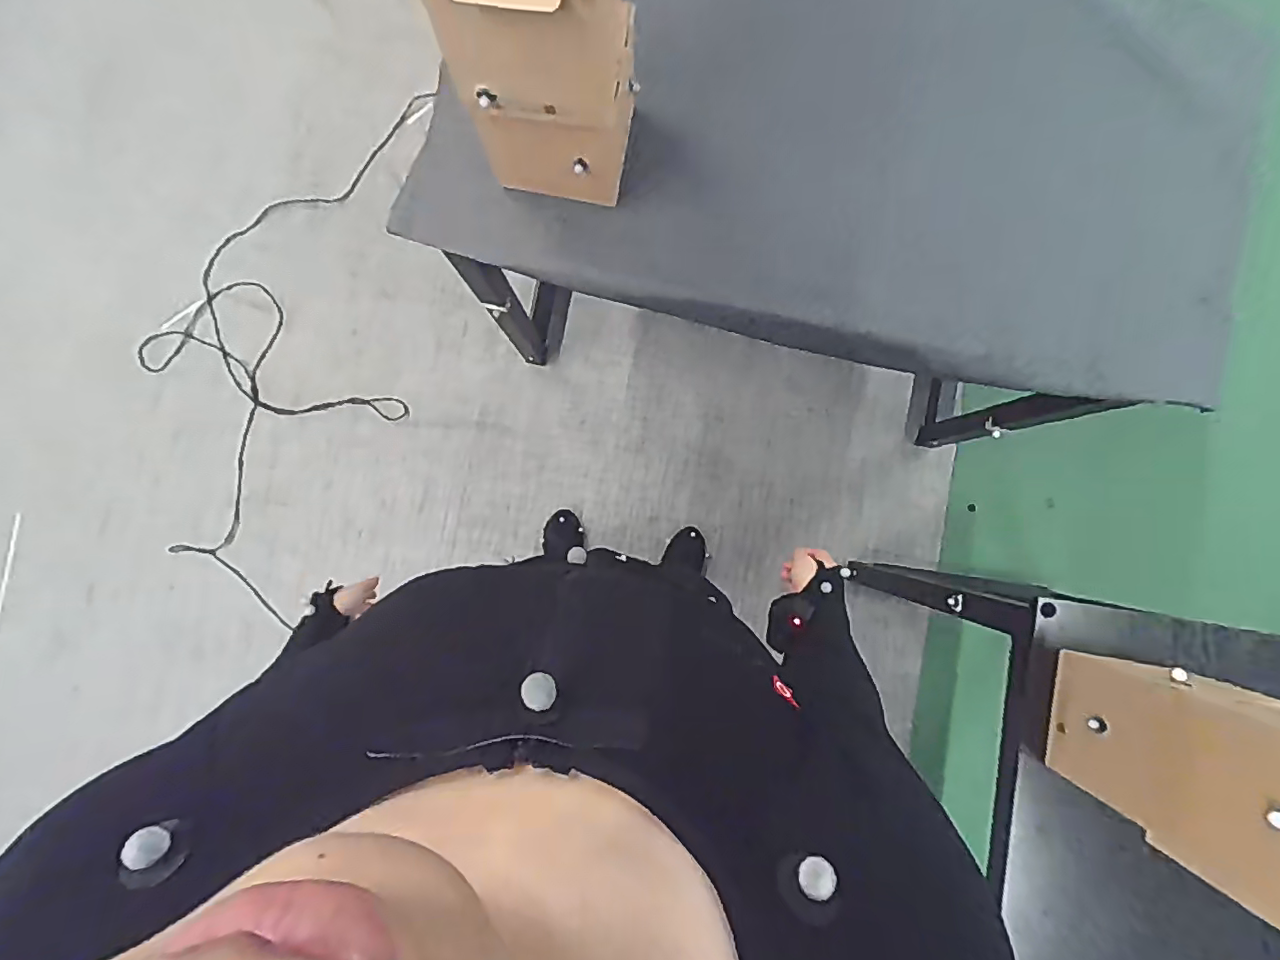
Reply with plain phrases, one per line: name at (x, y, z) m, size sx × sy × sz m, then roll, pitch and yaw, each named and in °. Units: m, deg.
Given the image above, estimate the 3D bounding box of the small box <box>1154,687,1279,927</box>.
small box at (0.650, 0.322, 0.513) m, size 0.168 × 0.176 × 0.179 m, roll 10°, pitch 87°, yaw 1°

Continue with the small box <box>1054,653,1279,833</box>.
small box at (0.667, 0.327, 0.675) m, size 0.179 × 0.176 × 0.168 m, roll 10°, pitch 88°, yaw 0°

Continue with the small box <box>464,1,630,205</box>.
small box at (-0.110, -0.499, 0.724) m, size 0.179 × 0.176 × 0.168 m, roll 9°, pitch 85°, yaw 1°
